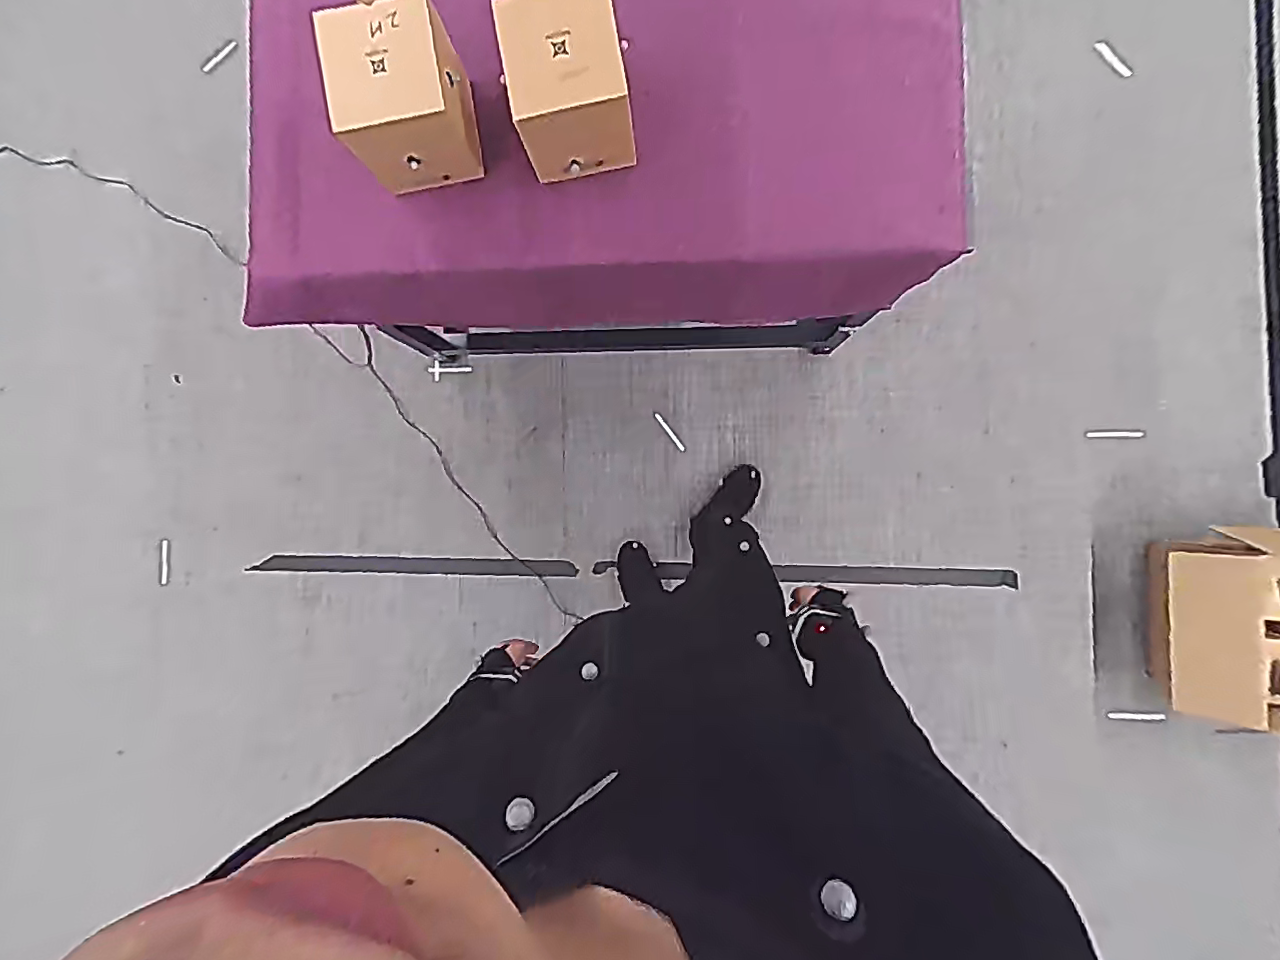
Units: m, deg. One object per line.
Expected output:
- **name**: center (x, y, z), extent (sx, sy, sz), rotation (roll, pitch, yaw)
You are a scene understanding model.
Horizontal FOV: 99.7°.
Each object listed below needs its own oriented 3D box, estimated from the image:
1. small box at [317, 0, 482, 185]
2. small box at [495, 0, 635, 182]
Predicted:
- **small box**: center (-0.357, -0.583, 0.832), extent (0.168, 0.176, 0.179), rotation (-9, 89, 2)
- **small box**: center (-0.104, -0.595, 0.820), extent (0.168, 0.176, 0.179), rotation (-10, 89, 4)
